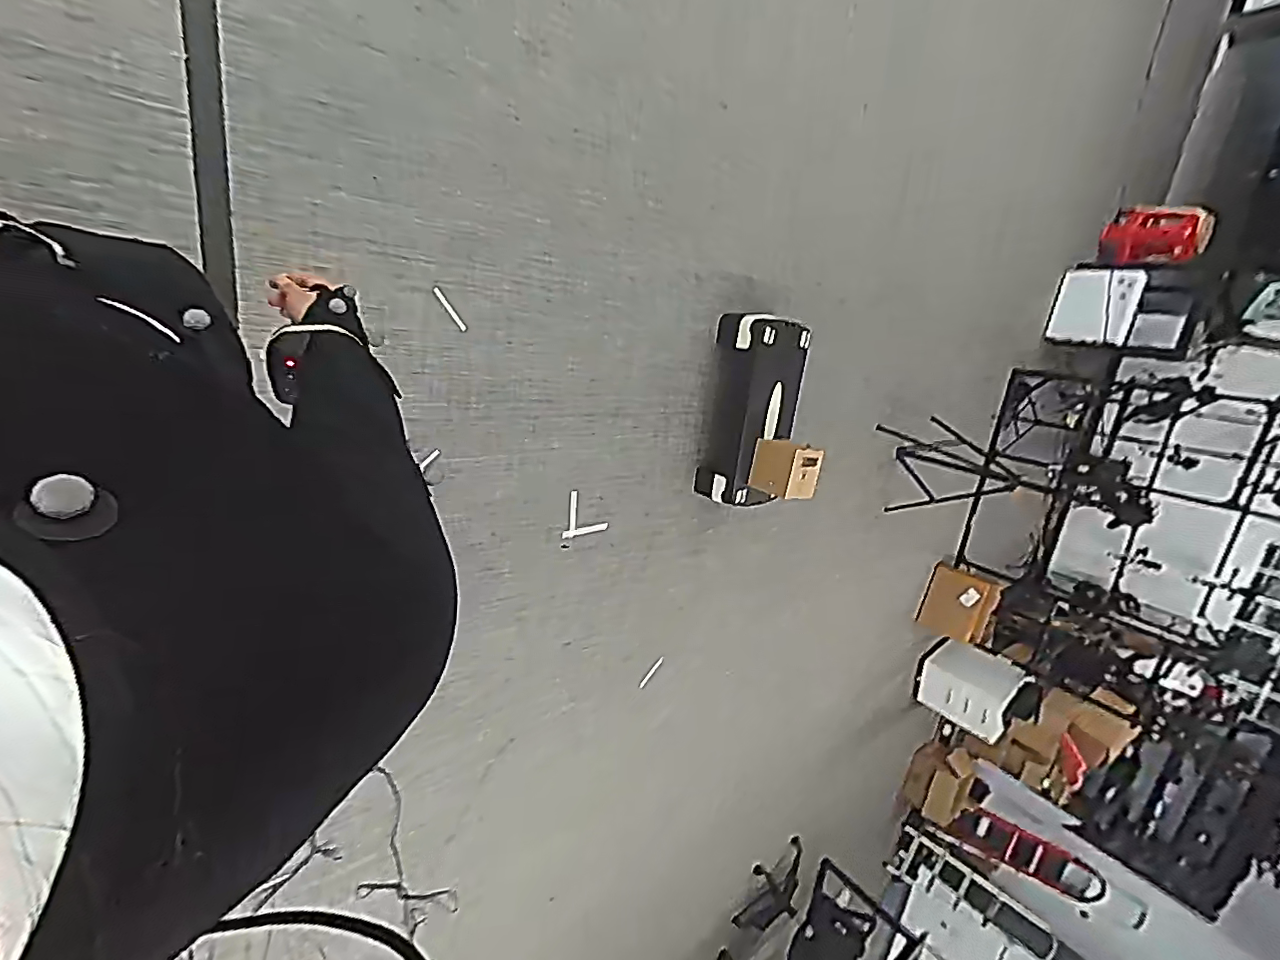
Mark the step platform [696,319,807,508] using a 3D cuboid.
[{"bbox_3d":[0.414,-0.237,2.004,0.286,0.204,0.684,-6,110,-39],"label":"step platform"}]
